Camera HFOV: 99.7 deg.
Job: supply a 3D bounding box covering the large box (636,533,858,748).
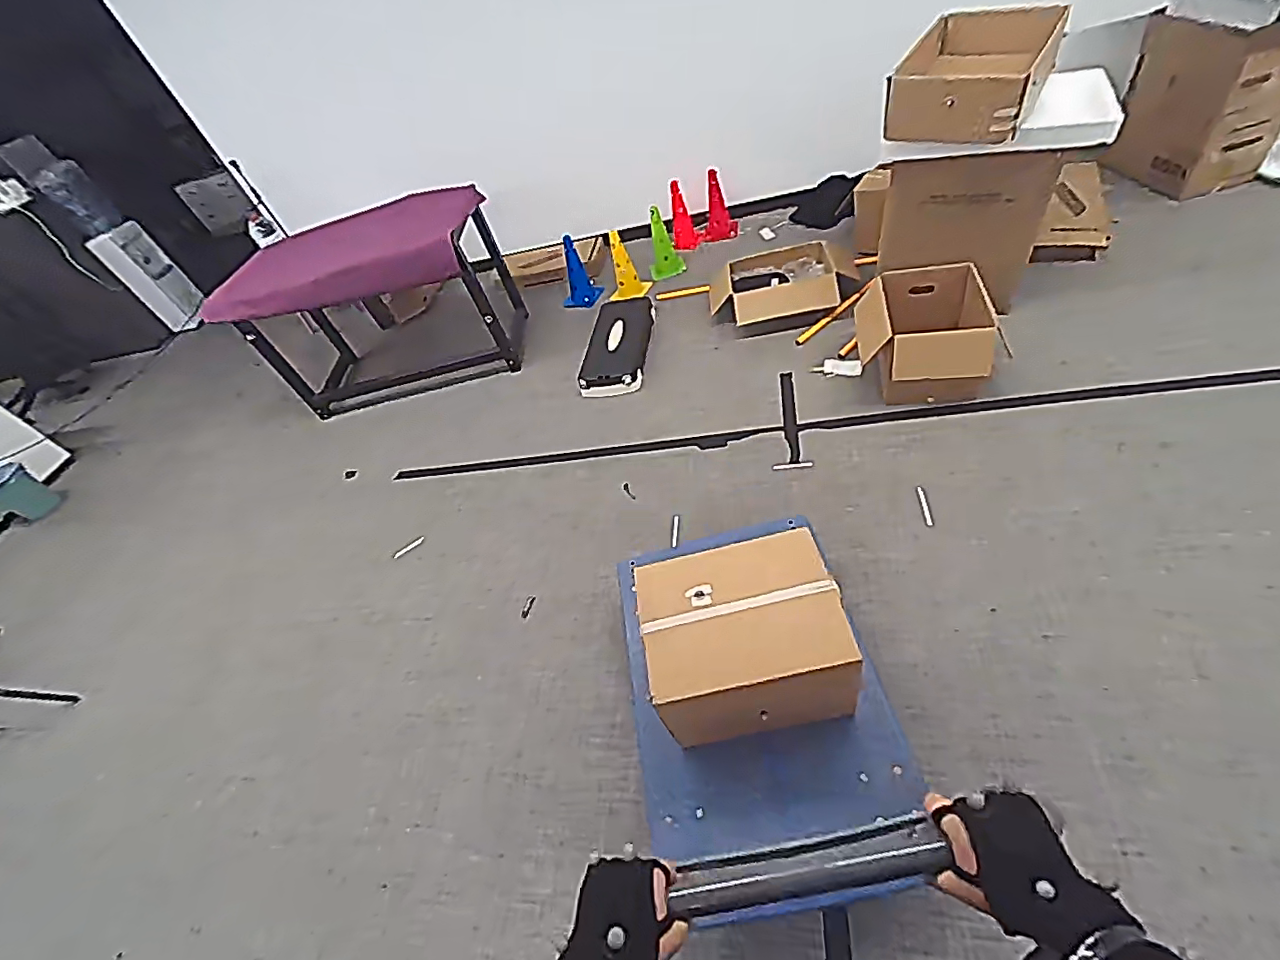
[{"bbox_3d":[0.238,0.375,1.239,0.408,0.320,0.320,-16,46,6],"label":"large box"}]
